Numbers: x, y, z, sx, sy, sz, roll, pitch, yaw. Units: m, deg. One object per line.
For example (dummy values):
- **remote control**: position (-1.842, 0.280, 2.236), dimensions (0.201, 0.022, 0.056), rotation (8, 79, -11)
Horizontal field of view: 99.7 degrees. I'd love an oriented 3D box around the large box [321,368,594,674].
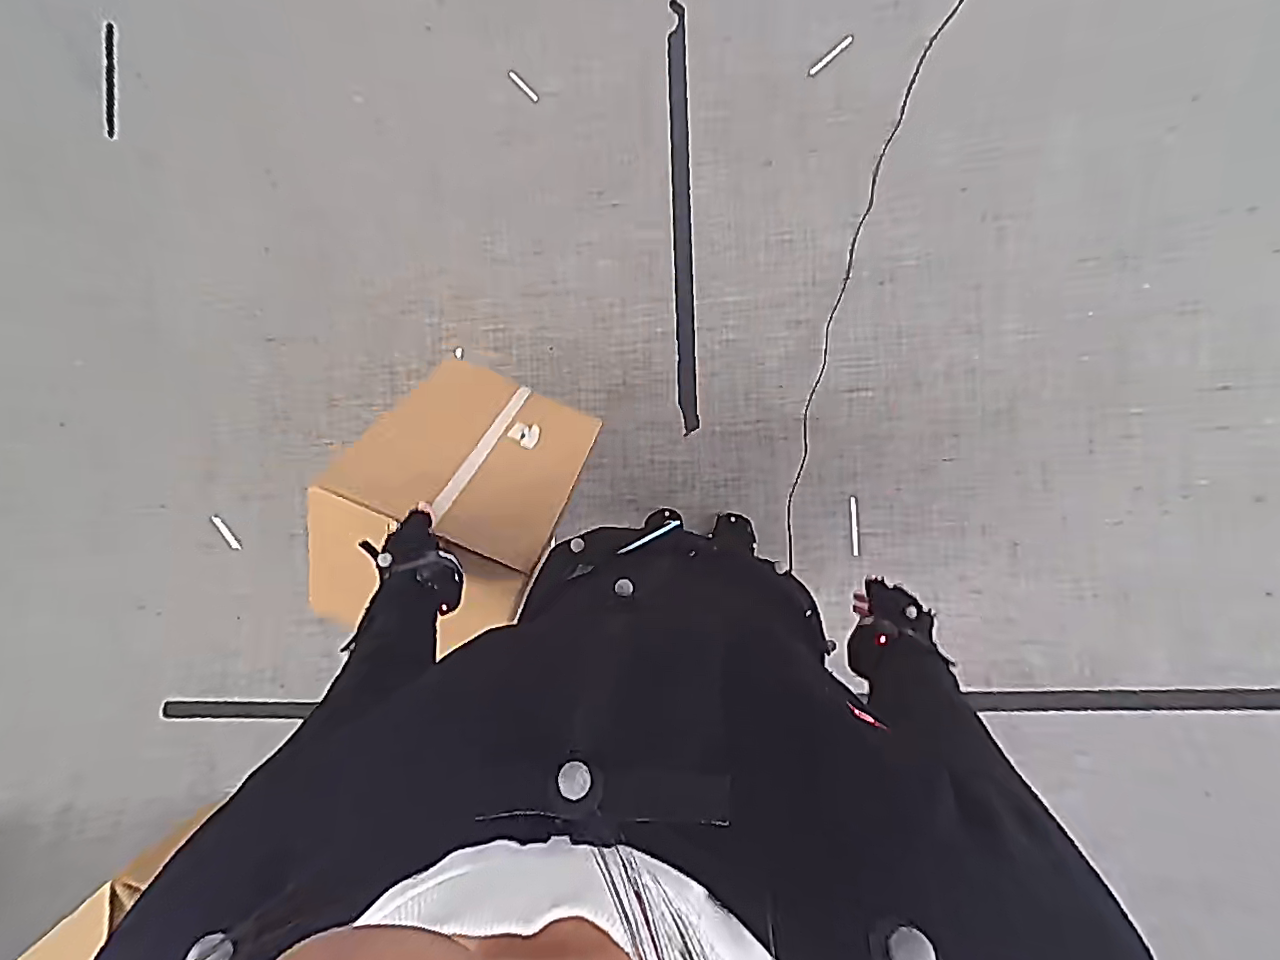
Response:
- **large box**: position (-0.313, 0.064, 0.983), dimensions (0.320, 0.408, 0.320), rotation (24, 127, -5)
